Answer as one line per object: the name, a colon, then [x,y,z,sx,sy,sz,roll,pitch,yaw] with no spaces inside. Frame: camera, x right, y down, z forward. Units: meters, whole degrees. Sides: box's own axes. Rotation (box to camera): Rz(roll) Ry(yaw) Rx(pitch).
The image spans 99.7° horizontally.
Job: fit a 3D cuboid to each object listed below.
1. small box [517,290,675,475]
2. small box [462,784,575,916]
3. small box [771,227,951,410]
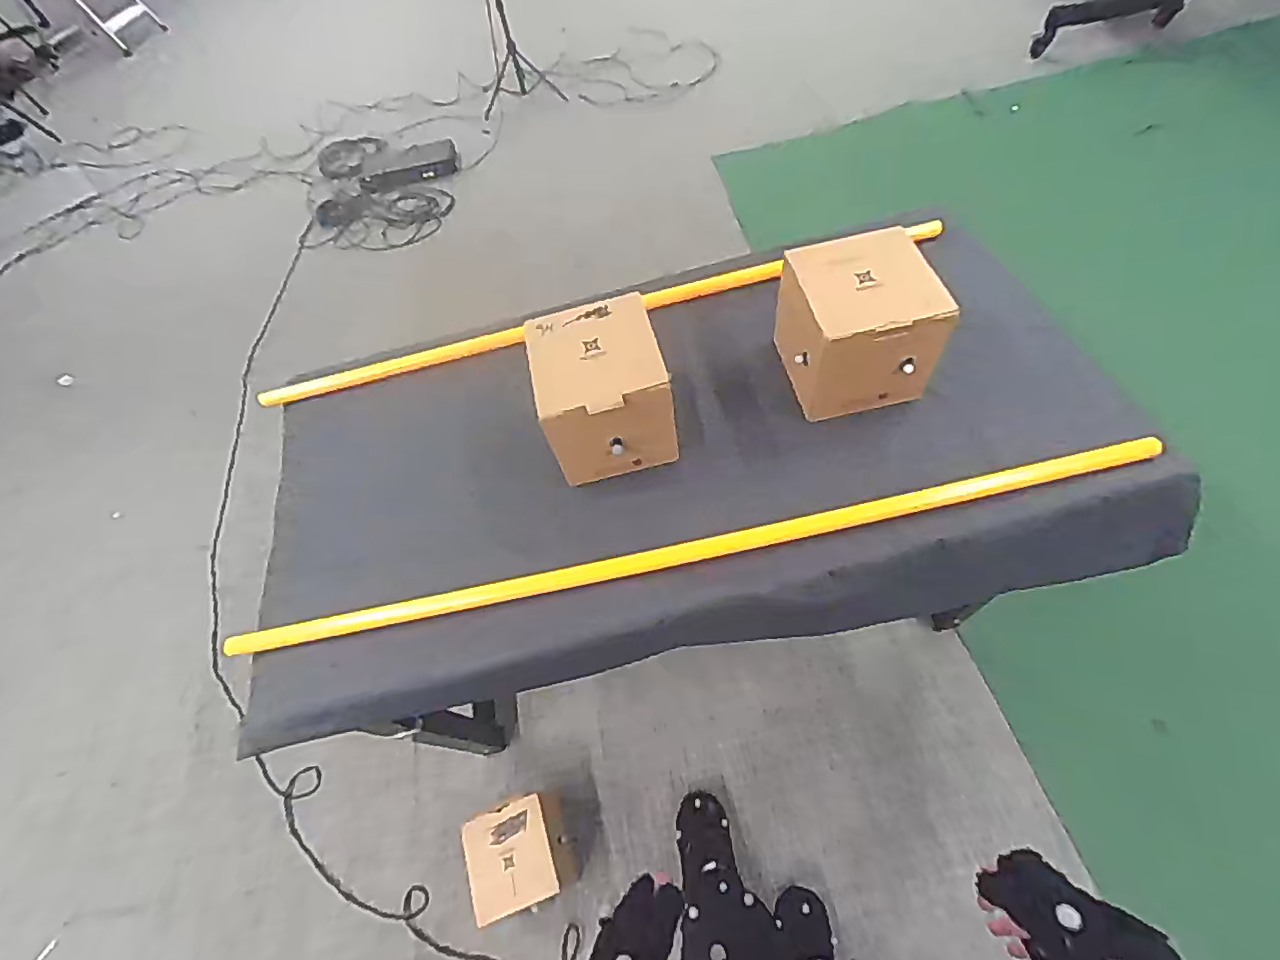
small box: [-0.056,-0.126,0.760,0.168,0.176,0.179,-18,58,0]
small box: [-0.247,0.756,1.120,0.168,0.176,0.179,-21,59,-4]
small box: [0.293,-0.216,0.760,0.168,0.176,0.179,-12,57,0]
